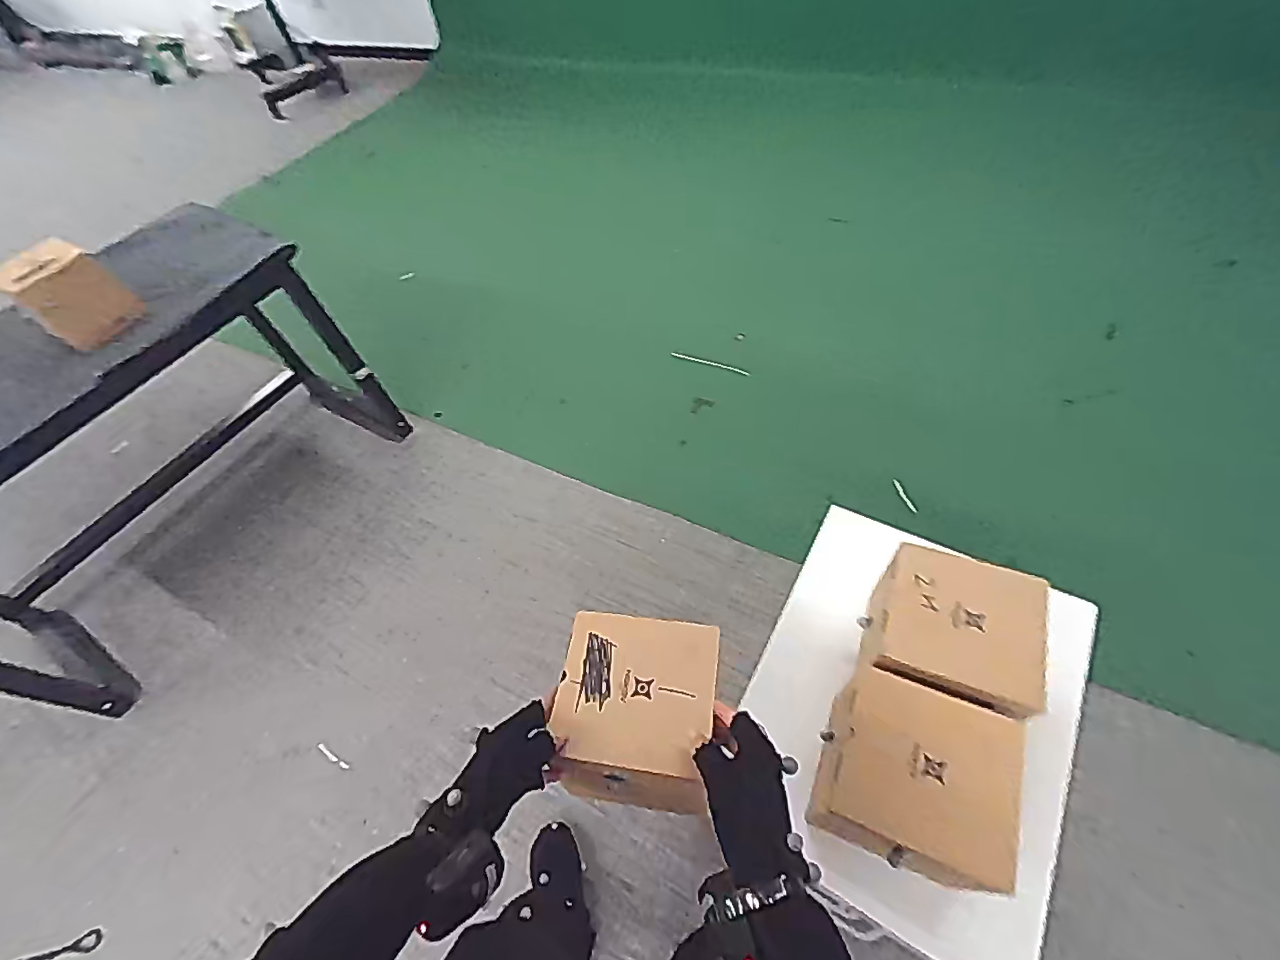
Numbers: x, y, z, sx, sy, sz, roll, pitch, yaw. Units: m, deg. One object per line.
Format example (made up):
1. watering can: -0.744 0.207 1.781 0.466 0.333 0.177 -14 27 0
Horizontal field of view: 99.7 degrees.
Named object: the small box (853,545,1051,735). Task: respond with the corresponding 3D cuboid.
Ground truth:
1. small box: 0.401 0.216 0.714 0.179 0.176 0.168 16 58 19
